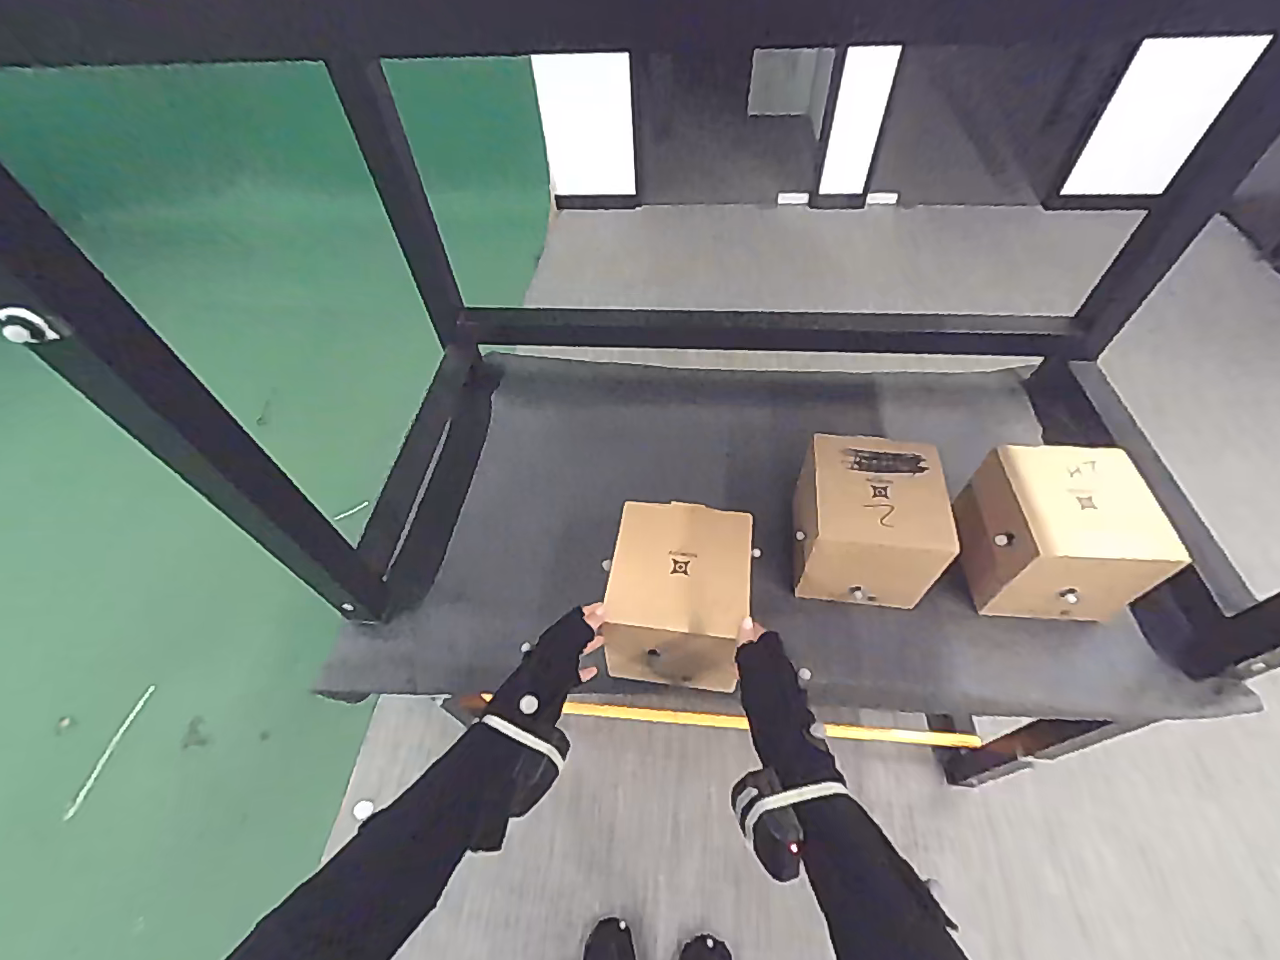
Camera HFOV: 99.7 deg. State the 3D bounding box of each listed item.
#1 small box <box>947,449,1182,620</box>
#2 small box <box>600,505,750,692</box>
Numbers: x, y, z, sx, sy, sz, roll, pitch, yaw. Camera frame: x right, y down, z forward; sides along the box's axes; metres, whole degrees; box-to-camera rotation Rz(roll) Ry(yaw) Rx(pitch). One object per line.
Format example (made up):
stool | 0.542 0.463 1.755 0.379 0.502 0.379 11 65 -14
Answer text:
small box | 0.556 0.078 0.742 0.168 0.176 0.179 2 51 5
small box | 0.051 0.158 0.707 0.168 0.176 0.179 6 49 7
